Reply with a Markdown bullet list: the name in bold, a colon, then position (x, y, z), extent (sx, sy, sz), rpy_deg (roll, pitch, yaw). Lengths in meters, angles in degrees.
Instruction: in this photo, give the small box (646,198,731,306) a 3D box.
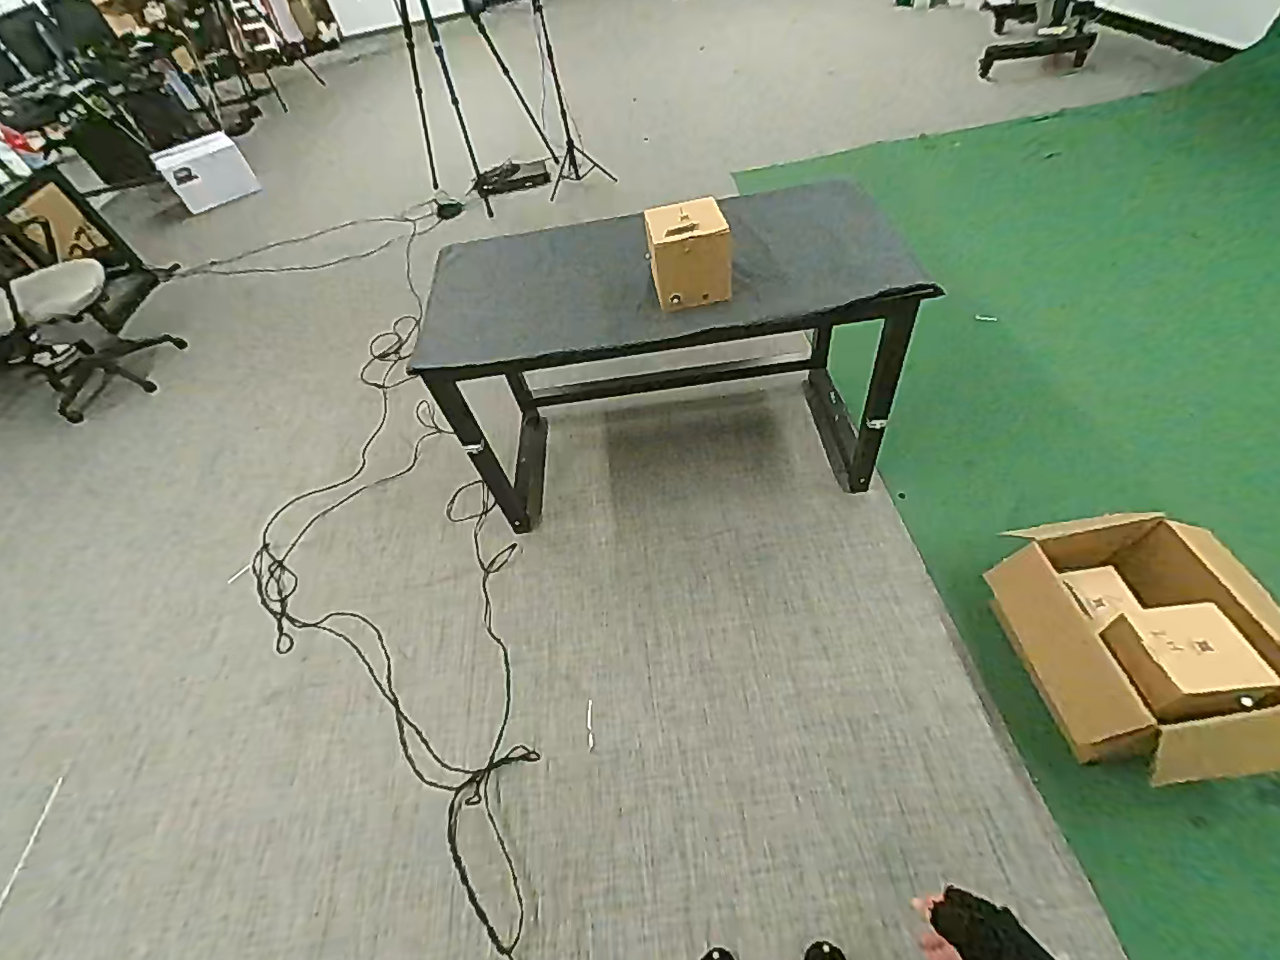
- **small box**: position (0.114, -0.523, 1.260), extent (0.168, 0.176, 0.179), rpy_deg (-11, 49, 2)
